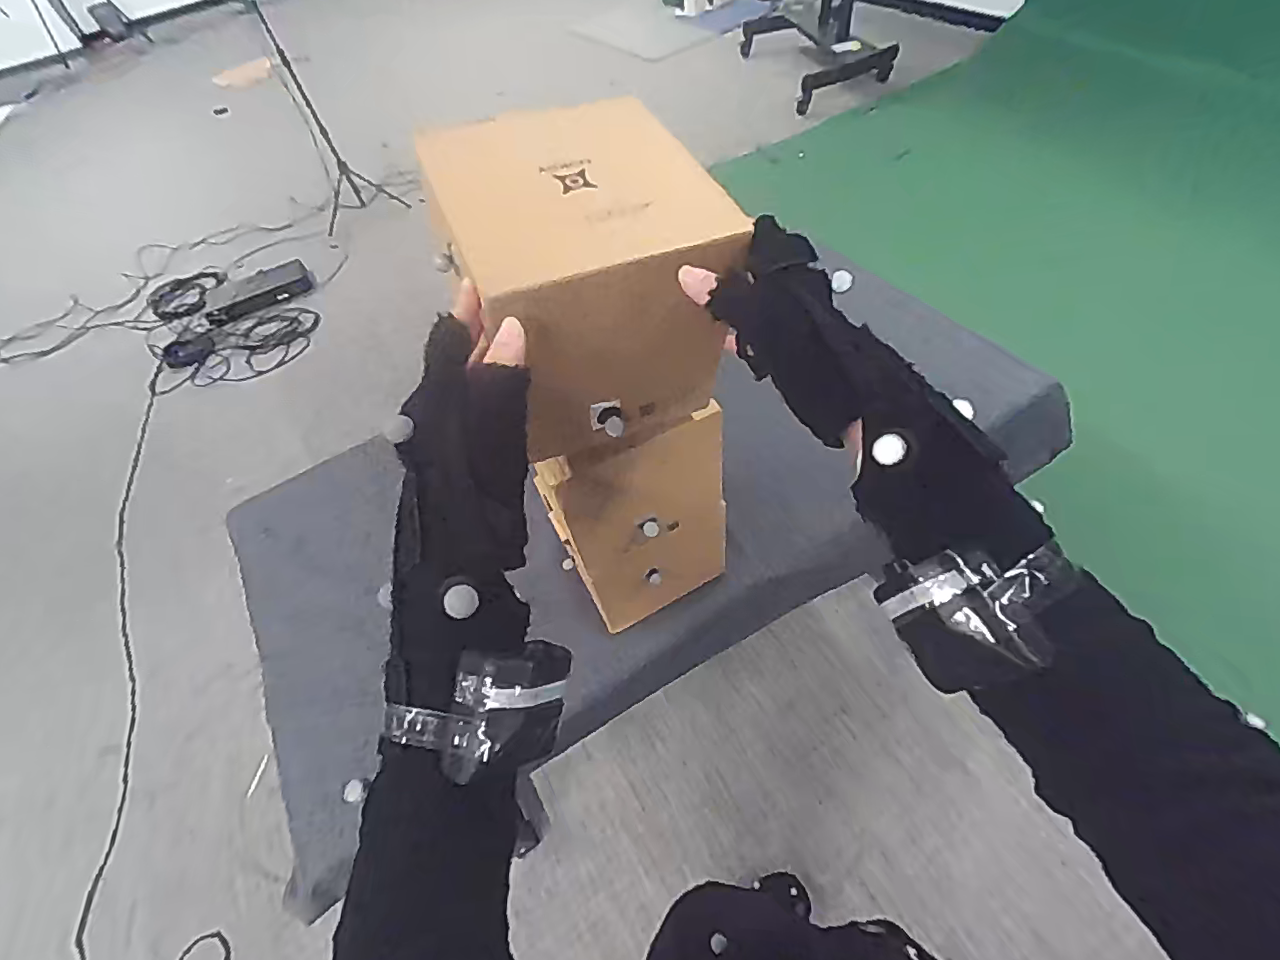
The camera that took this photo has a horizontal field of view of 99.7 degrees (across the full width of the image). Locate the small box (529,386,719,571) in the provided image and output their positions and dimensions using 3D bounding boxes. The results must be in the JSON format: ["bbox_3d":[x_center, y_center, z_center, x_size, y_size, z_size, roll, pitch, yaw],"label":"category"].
[{"bbox_3d":[-0.032,-0.039,0.568,0.168,0.176,0.179,-28,53,-11],"label":"small box"}]

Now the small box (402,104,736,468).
[{"bbox_3d":[-0.054,-0.140,0.404,0.168,0.176,0.179,-20,61,-14],"label":"small box"}]

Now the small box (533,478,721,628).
[{"bbox_3d":[-0.009,0.061,0.697,0.179,0.176,0.168,-28,54,-10],"label":"small box"}]
